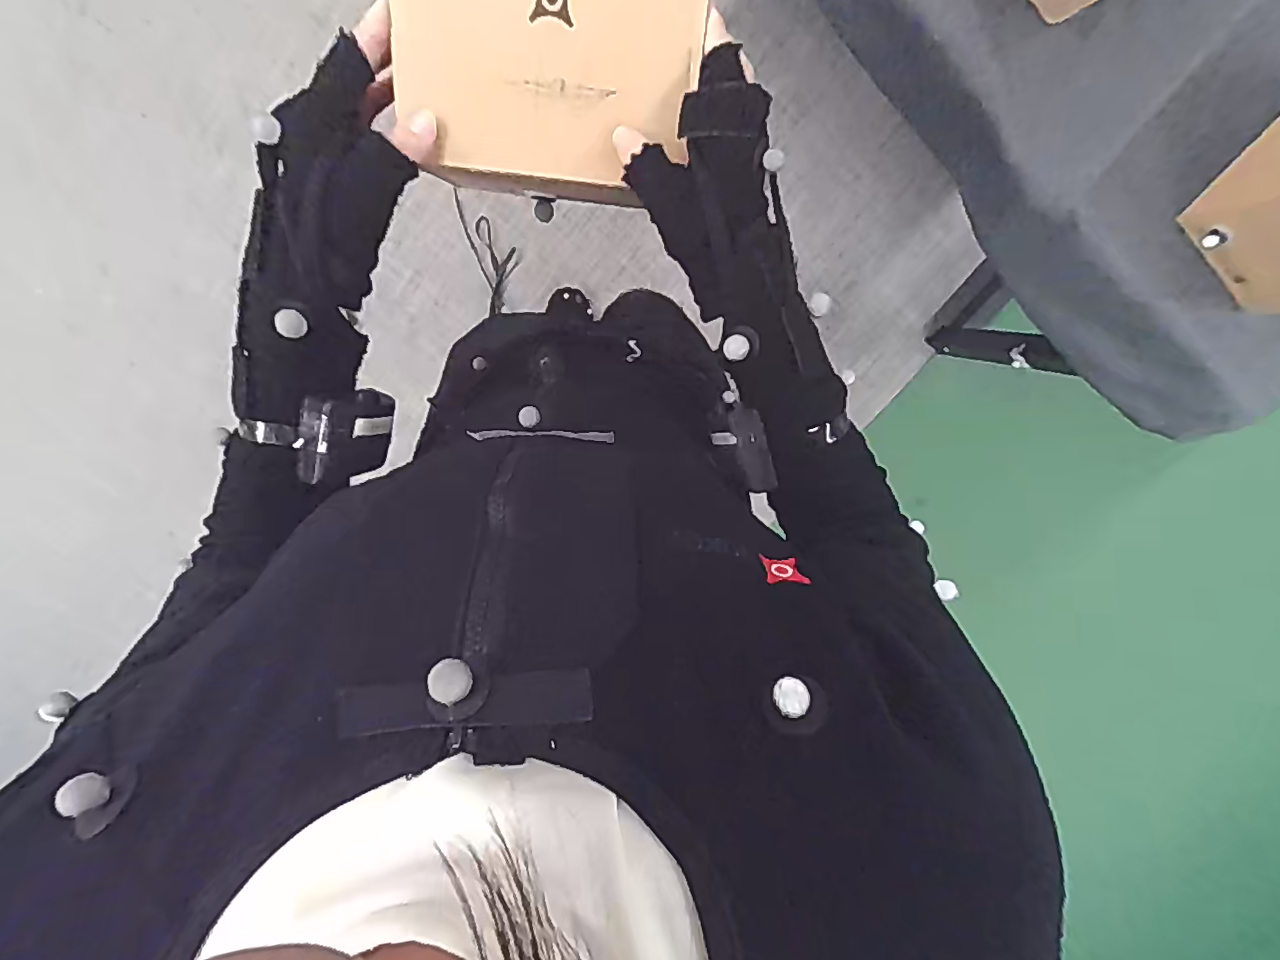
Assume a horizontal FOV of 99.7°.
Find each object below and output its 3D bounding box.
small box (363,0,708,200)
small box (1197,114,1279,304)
[{"bbox_3d":[-0.051,-0.284,0.327,0.168,0.176,0.179,6,113,-6],"label":"small box"},{"bbox_3d":[0.736,-0.295,0.546,0.168,0.176,0.179,38,101,-14],"label":"small box"}]
